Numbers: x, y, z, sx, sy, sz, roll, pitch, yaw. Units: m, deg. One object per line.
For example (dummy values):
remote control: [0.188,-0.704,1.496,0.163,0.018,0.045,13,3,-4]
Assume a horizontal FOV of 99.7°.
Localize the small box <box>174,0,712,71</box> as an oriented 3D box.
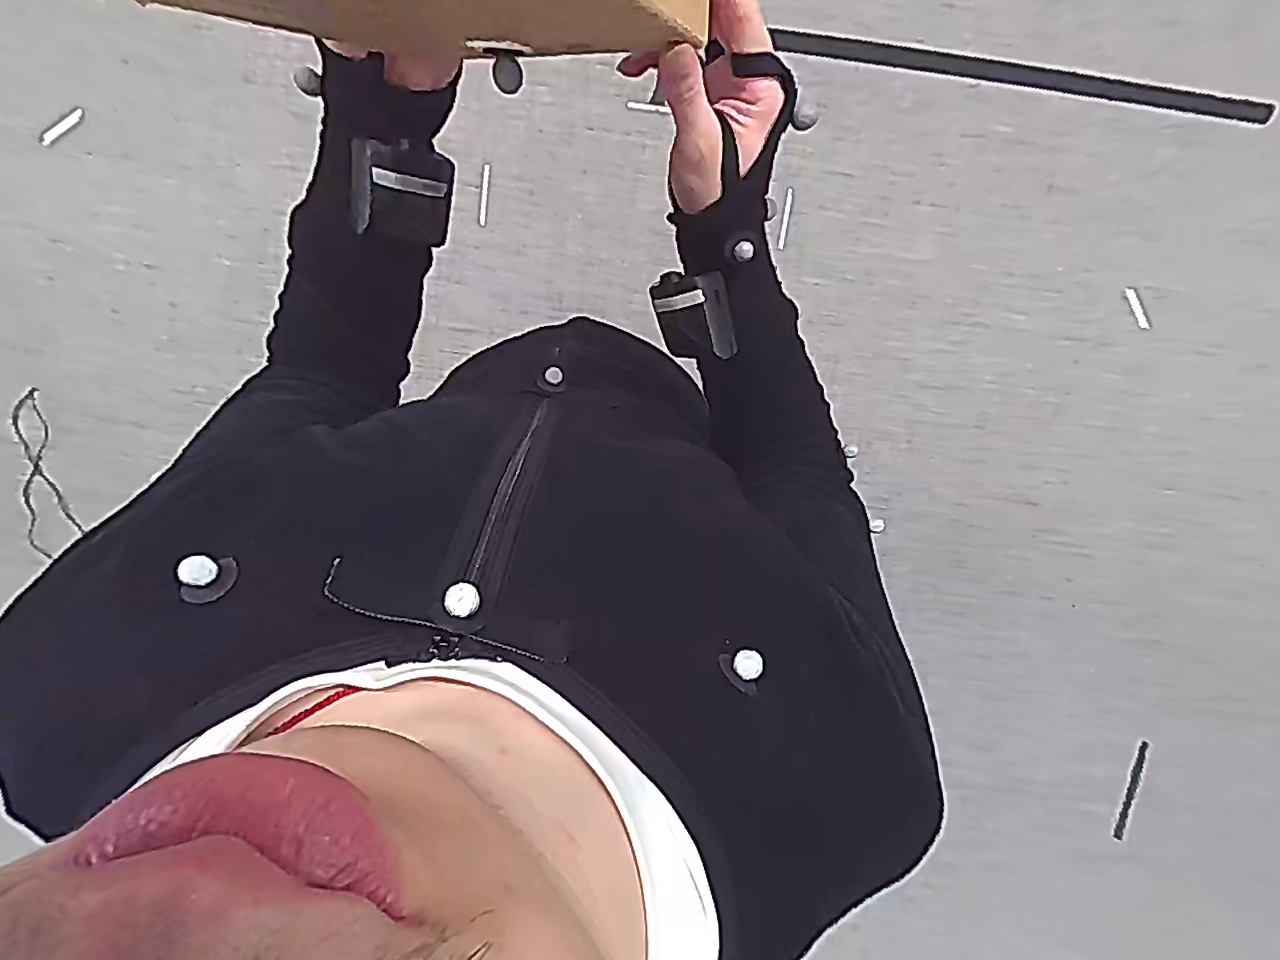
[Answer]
small box: [-0.065,-0.268,0.194,0.168,0.176,0.179,9,123,16]
